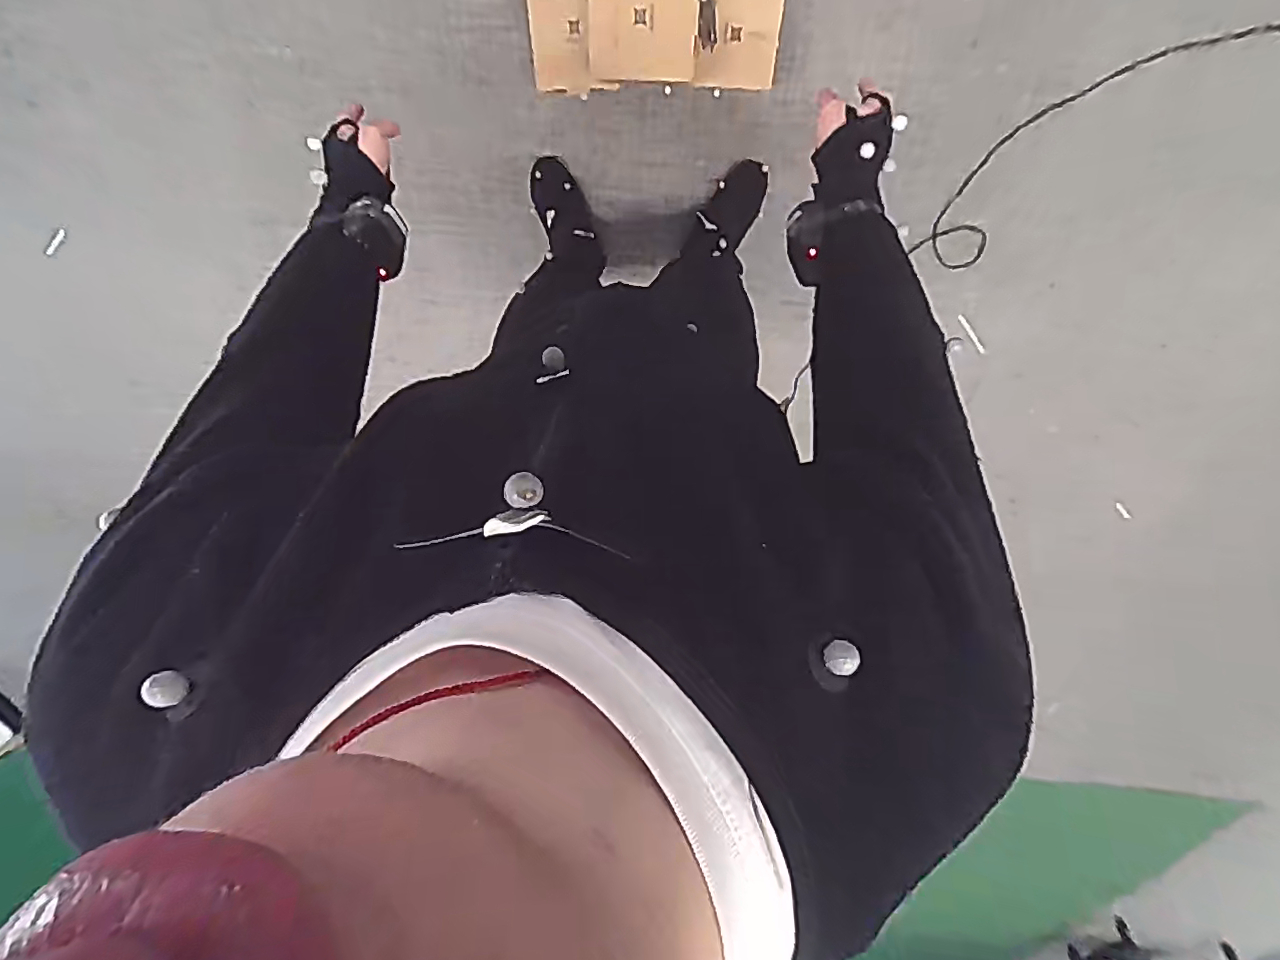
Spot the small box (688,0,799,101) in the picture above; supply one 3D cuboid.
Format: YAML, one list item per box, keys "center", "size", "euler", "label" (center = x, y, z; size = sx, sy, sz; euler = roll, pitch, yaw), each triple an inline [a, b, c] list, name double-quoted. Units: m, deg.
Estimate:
- center: [0.195, -0.851, 1.056]
  size: [0.179, 0.176, 0.168]
  euler: [8, 127, 1]
  label: "small box"

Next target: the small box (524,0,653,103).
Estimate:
- center: [-0.091, -0.874, 1.063]
  size: [0.179, 0.176, 0.168]
  euler: [-23, 117, 21]
  label: "small box"
